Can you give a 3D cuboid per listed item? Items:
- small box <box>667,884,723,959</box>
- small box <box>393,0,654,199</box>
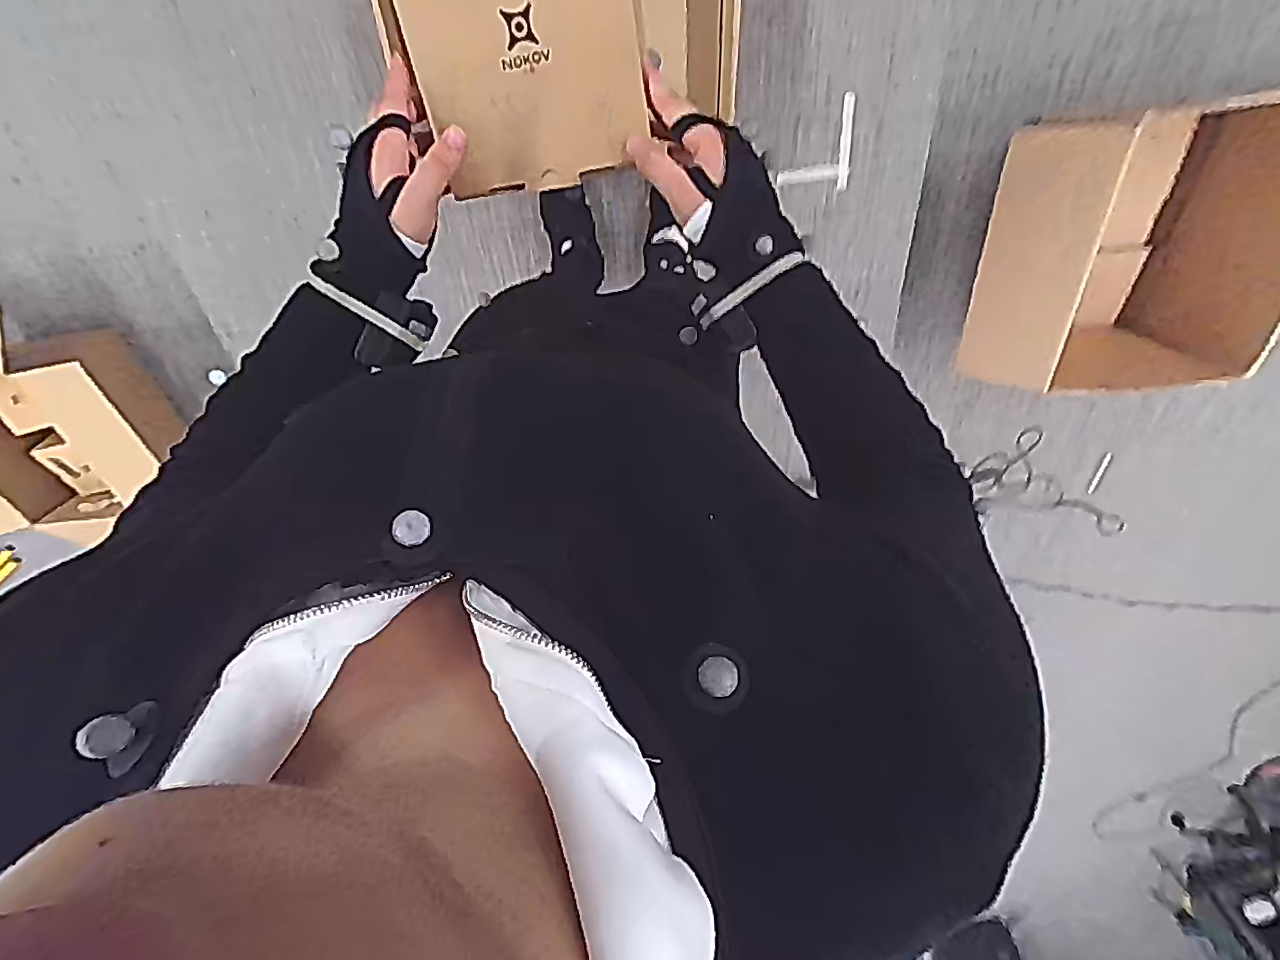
[{"bbox_3d":[0.170,1.402,1.701,0.168,0.176,0.179,-3,125,3],"label":"small box"},{"bbox_3d":[-0.082,-0.354,0.457,0.168,0.176,0.179,-8,119,7],"label":"small box"}]
